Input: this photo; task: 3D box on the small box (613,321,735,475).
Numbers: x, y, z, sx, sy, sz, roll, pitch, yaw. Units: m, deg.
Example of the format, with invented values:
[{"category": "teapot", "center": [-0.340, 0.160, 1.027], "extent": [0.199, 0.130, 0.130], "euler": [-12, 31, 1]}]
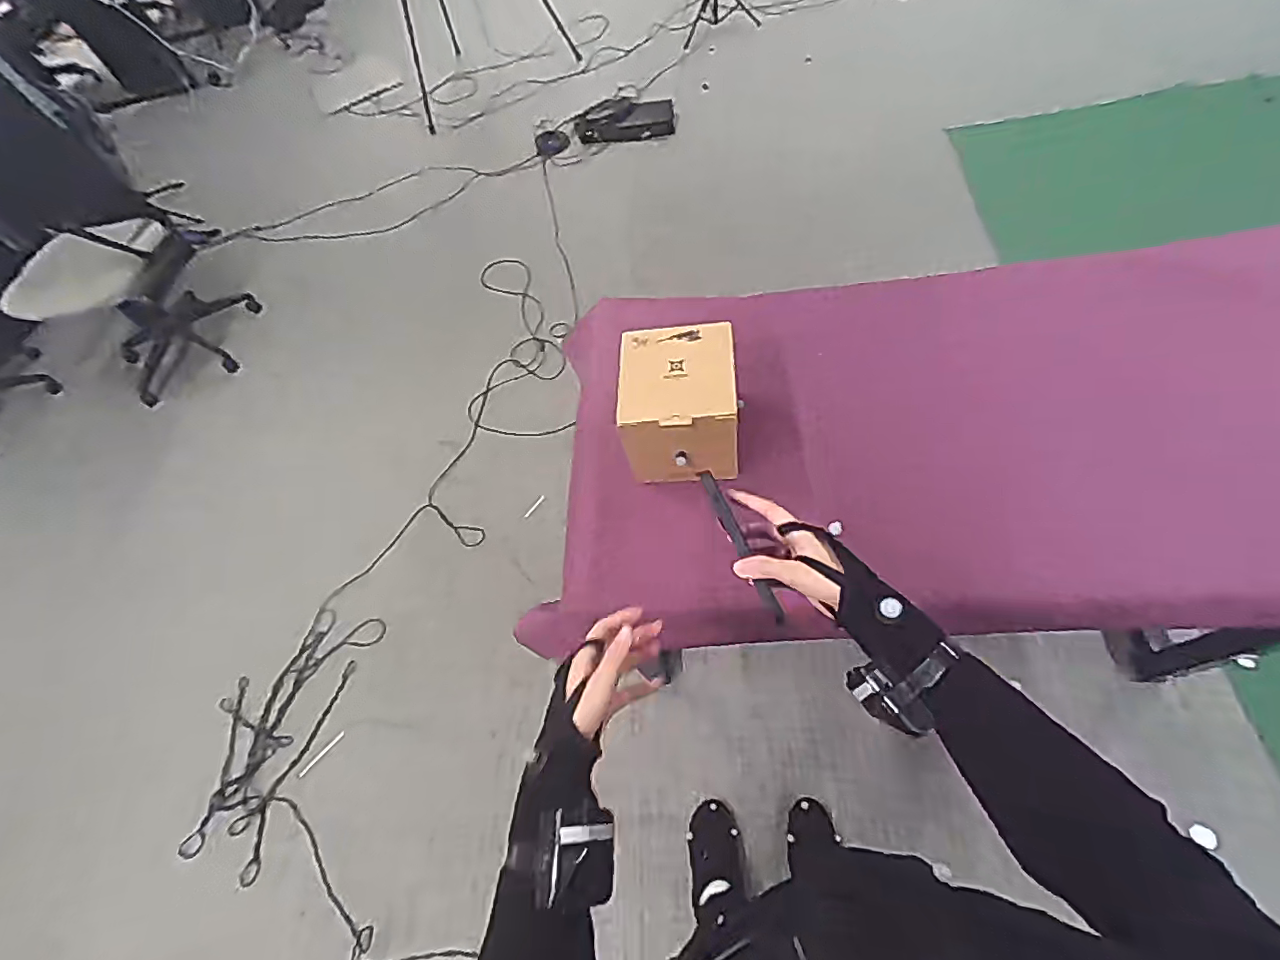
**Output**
[{"category": "small box", "center": [0.060, -0.116, 0.838], "extent": [0.168, 0.176, 0.179], "euler": [-3, 61, 9]}]
